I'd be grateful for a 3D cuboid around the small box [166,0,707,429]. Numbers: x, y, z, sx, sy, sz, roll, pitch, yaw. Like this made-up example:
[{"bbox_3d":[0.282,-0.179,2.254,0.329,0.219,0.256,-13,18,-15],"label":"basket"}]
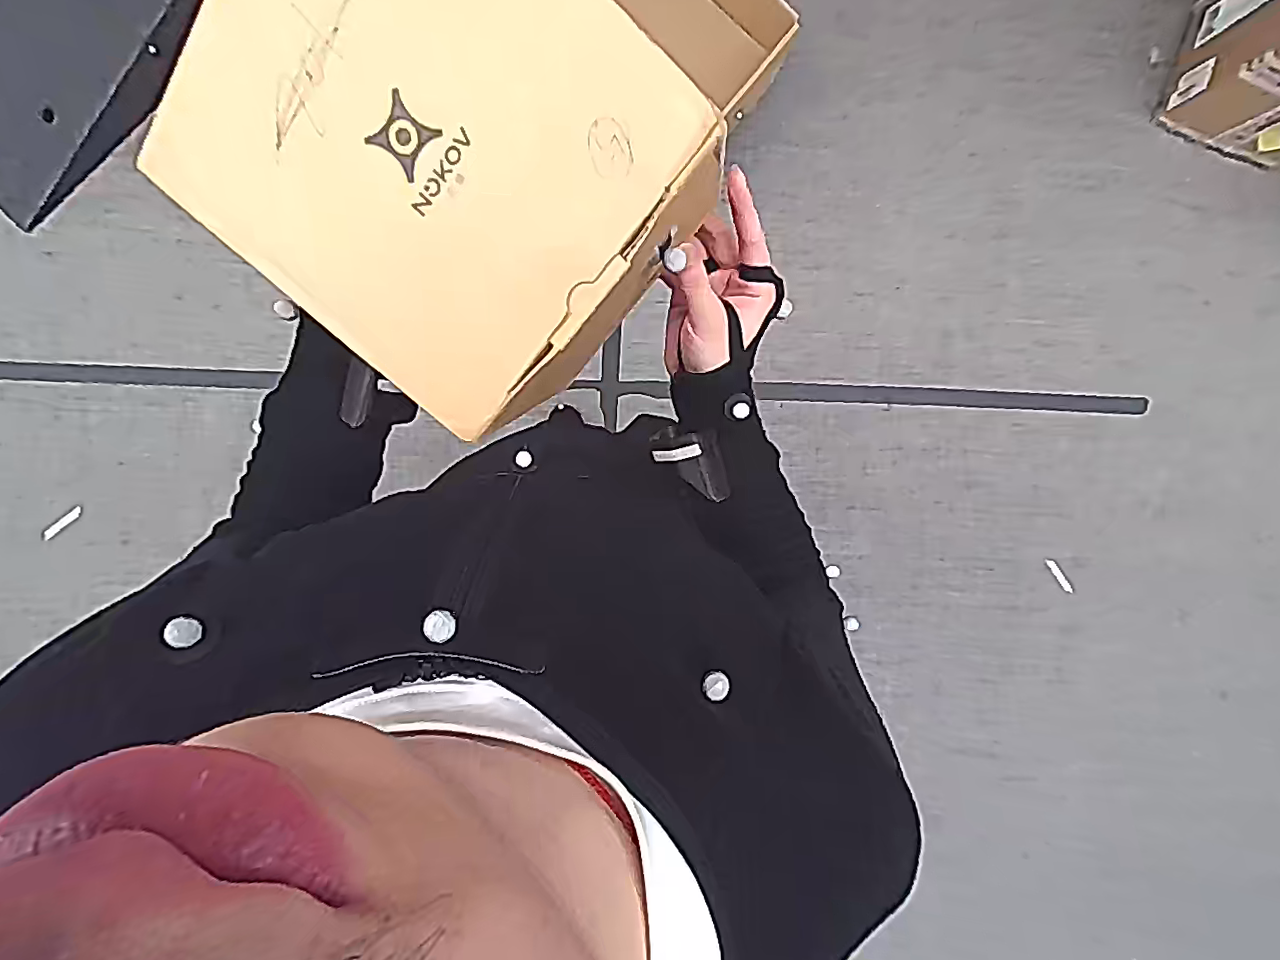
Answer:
[{"bbox_3d":[-0.080,-0.158,0.295,0.179,0.176,0.168,40,107,-7],"label":"small box"}]
